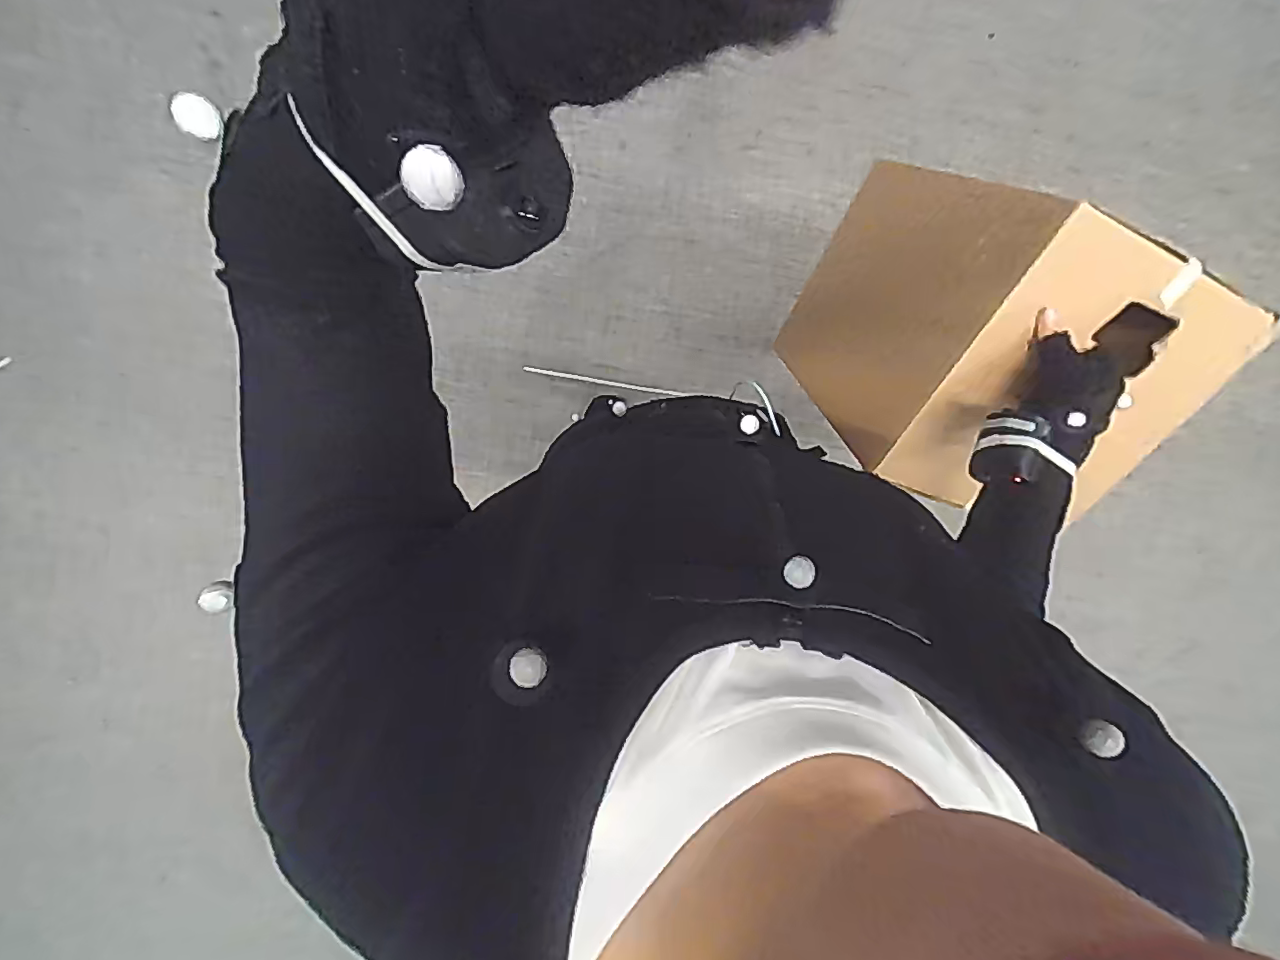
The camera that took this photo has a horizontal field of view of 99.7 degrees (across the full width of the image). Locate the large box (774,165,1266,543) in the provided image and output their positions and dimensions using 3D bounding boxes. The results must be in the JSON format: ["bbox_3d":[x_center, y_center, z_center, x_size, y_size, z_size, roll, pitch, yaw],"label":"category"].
[{"bbox_3d":[0.443,-0.185,0.753,0.320,0.408,0.320,18,123,-17],"label":"large box"}]
